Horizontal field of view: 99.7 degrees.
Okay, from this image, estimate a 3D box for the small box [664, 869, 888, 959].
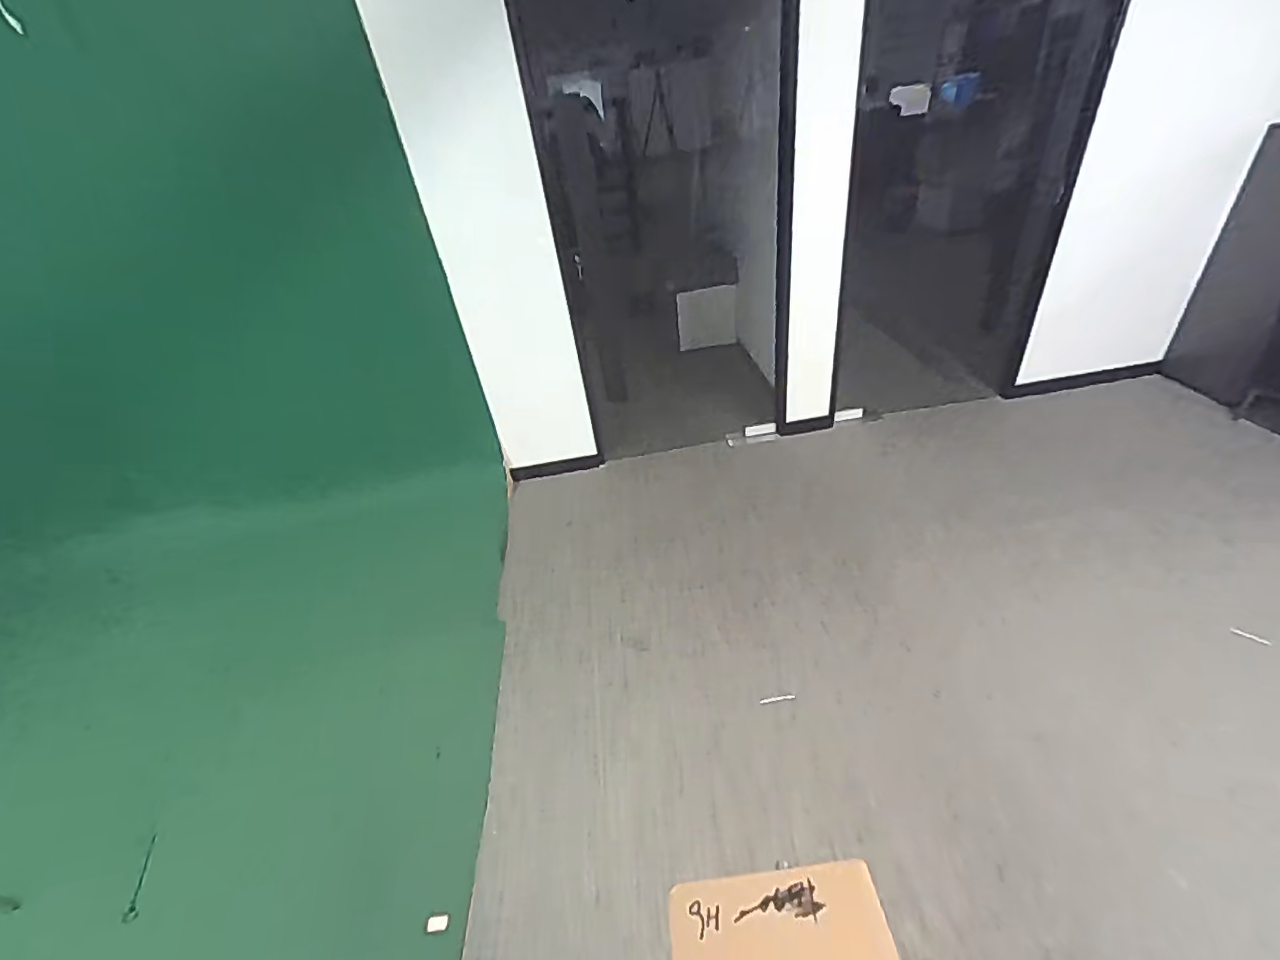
[{"bbox_3d":[0.116,0.443,0.427,0.168,0.176,0.179,-9,37,3],"label":"small box"}]
